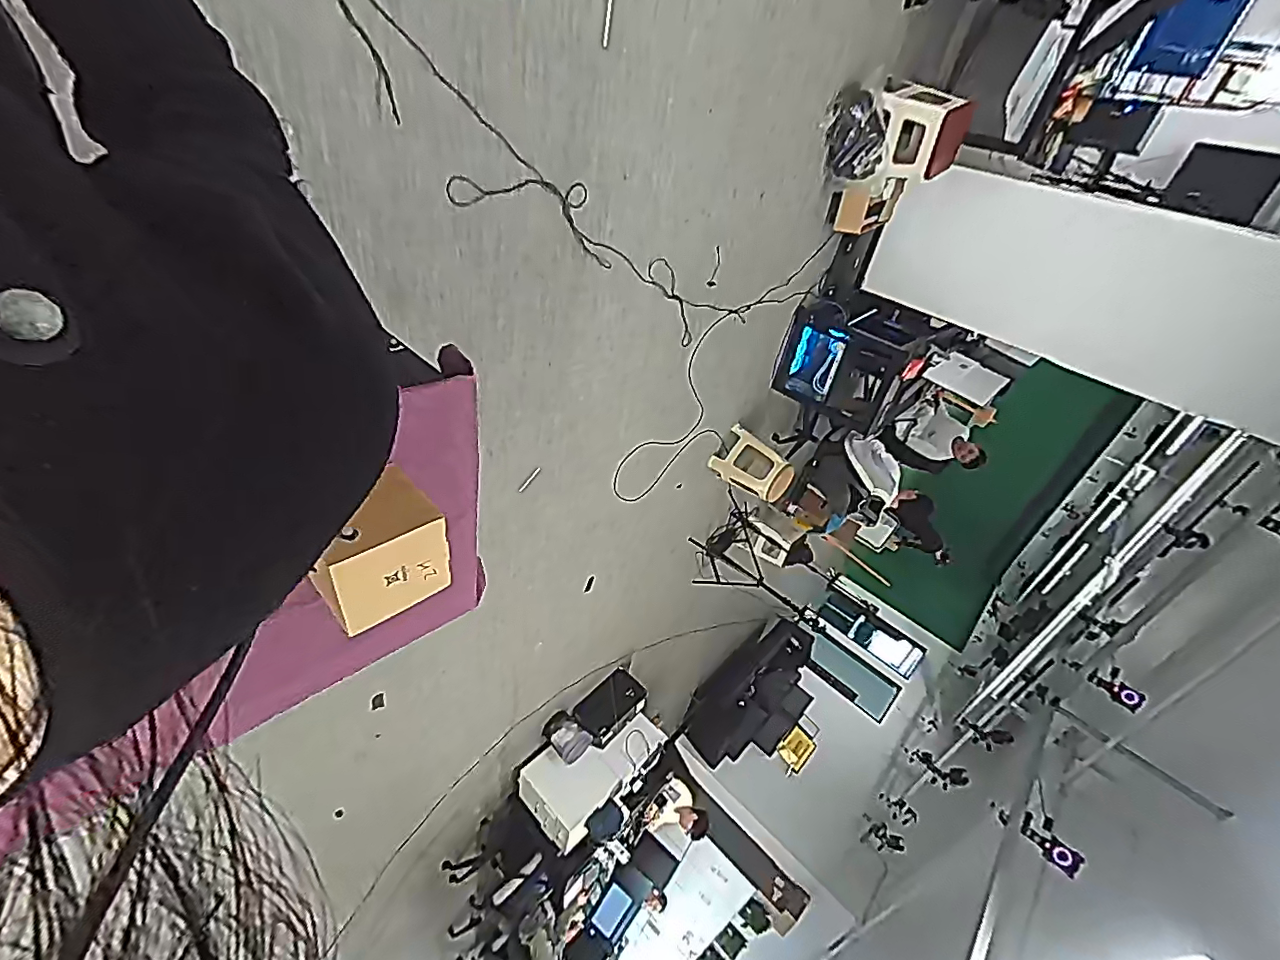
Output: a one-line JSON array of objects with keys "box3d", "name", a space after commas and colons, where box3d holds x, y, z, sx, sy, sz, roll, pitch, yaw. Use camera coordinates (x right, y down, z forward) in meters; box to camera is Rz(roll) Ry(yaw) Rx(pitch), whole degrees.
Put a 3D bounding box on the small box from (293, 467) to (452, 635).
[{"box3d": [-0.430, 0.106, 0.874, 0.179, 0.176, 0.168, -28, 143, -39], "name": "small box"}]
